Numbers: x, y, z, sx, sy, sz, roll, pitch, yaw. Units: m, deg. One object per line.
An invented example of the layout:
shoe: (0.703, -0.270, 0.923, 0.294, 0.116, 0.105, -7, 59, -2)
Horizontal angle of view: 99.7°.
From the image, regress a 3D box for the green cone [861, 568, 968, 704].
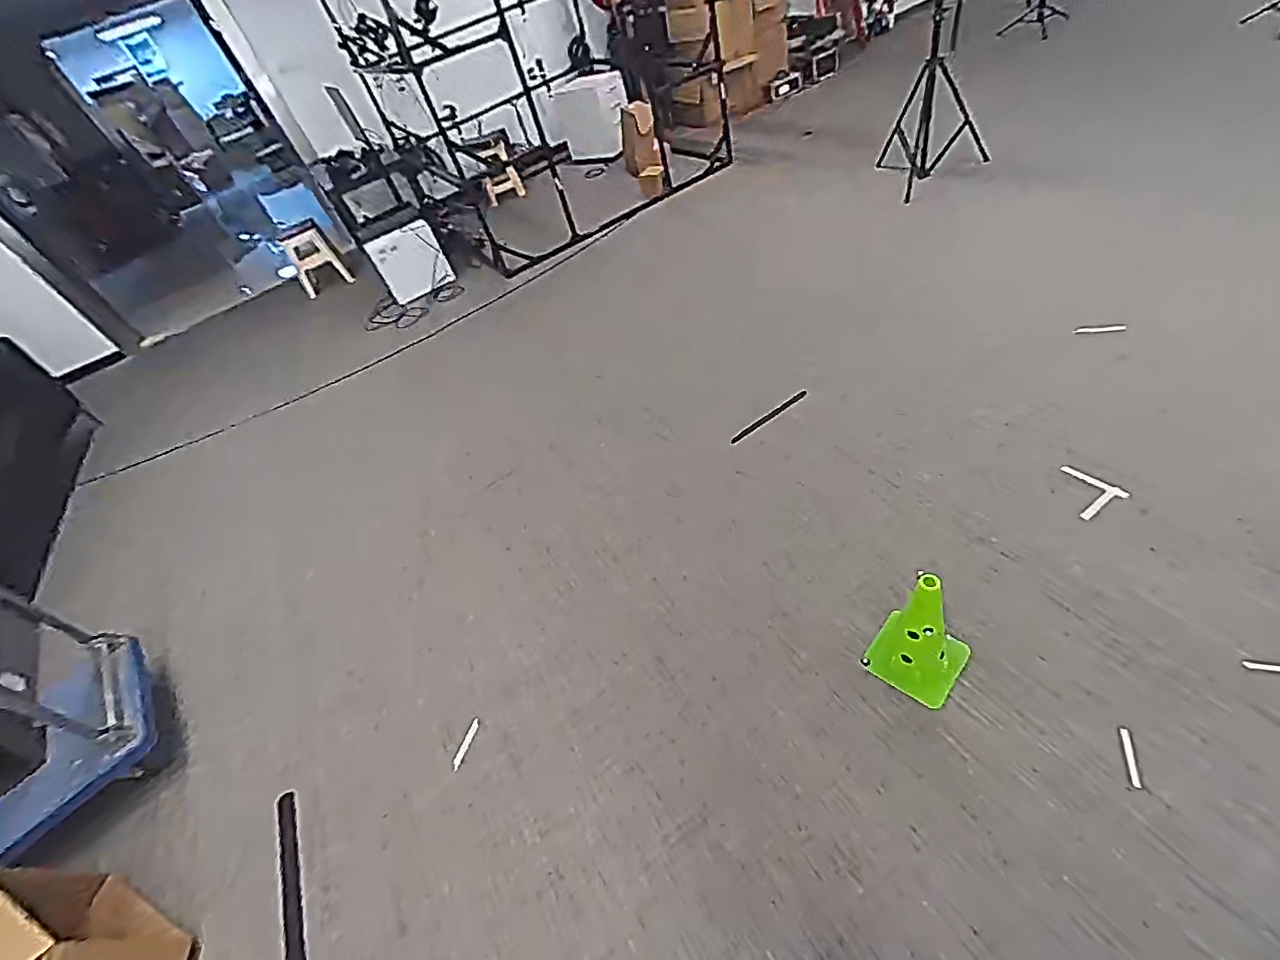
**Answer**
green cone: (0.657, 0.326, 1.257, 0.200, 0.368, 0.202, 27, 60, 37)
